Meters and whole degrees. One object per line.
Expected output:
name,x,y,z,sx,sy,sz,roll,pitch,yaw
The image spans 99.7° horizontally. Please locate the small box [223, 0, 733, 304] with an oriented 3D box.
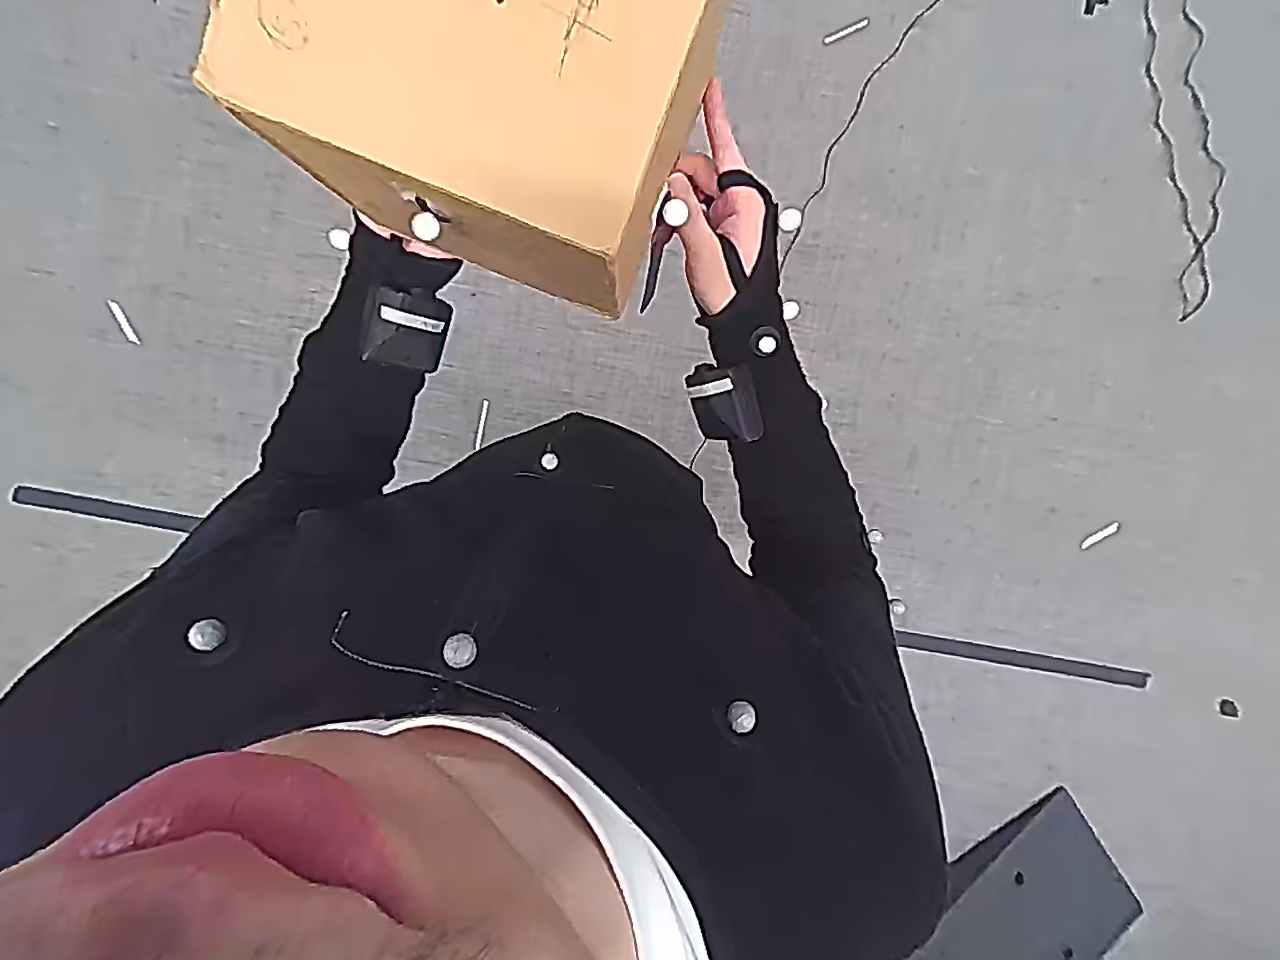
small box,-0.061,-0.212,0.293,0.179,0.176,0.168,20,97,-5
